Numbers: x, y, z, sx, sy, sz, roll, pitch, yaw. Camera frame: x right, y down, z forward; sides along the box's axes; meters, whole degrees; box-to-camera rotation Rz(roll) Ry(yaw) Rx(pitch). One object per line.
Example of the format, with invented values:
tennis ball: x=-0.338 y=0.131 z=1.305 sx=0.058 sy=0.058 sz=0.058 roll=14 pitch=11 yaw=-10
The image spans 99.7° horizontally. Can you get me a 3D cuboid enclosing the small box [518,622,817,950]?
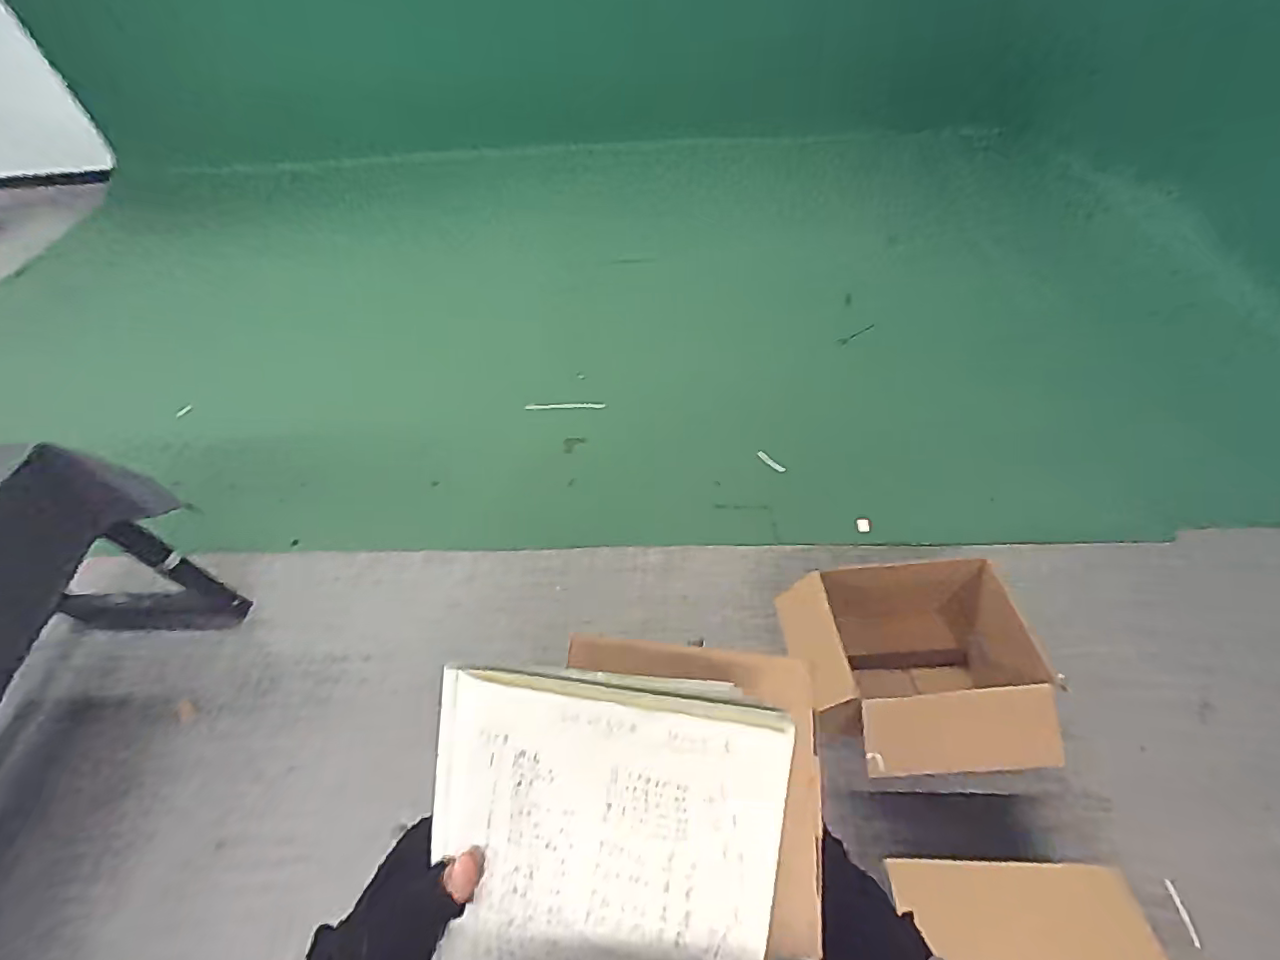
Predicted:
small box: x=0.026 y=0.219 z=0.417 sx=0.179 sy=0.176 sz=0.168 roll=6 pitch=63 yaw=5
